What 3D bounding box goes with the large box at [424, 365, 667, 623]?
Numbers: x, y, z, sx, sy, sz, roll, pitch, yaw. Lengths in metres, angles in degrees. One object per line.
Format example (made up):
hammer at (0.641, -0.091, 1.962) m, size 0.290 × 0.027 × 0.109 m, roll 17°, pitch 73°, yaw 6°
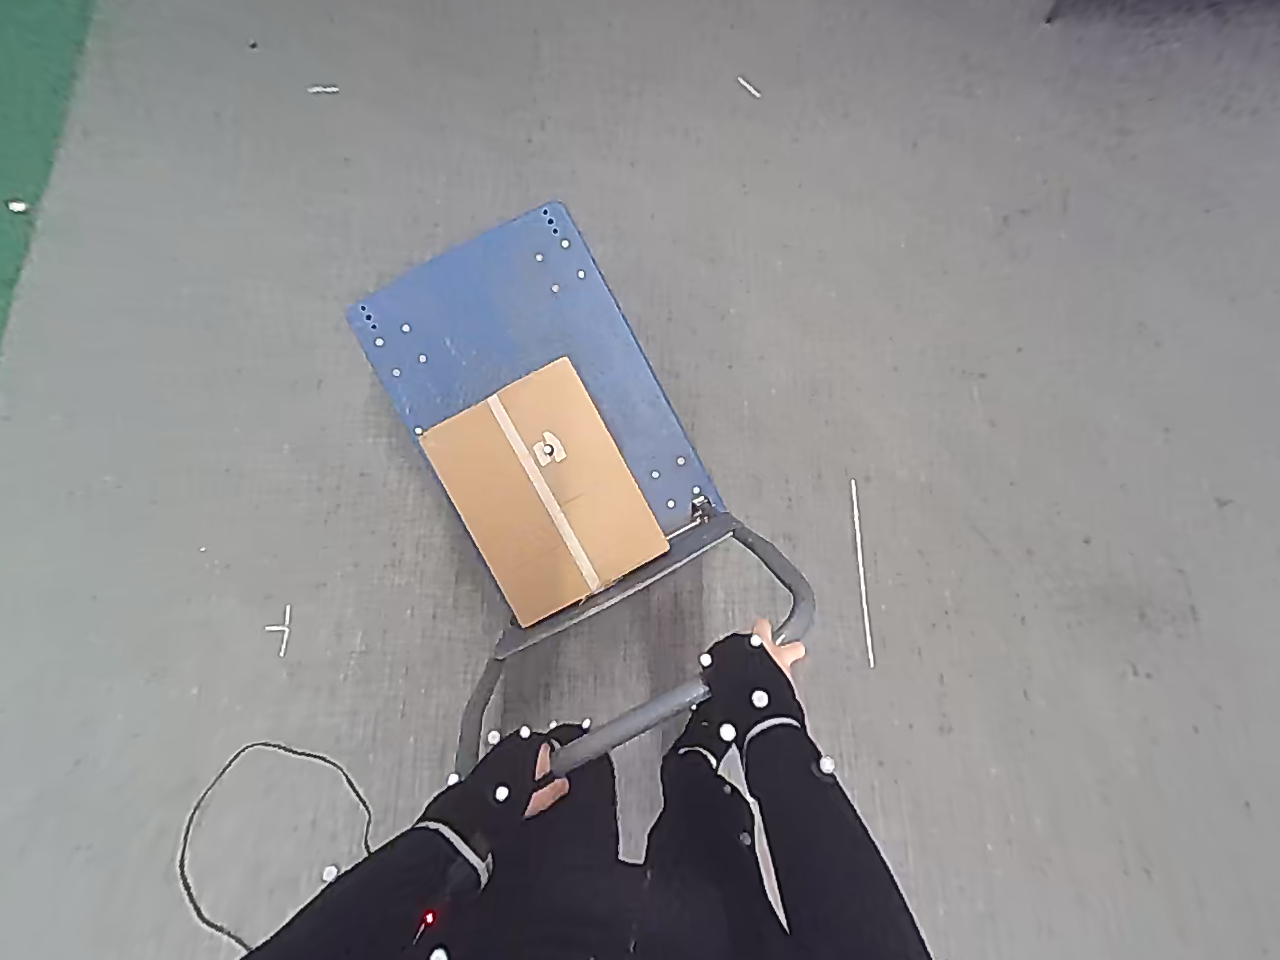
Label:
large box at (-0.177, 0.027, 1.160) m, size 0.320 × 0.320 × 0.408 m, roll -29°, pitch 91°, yaw -1°
